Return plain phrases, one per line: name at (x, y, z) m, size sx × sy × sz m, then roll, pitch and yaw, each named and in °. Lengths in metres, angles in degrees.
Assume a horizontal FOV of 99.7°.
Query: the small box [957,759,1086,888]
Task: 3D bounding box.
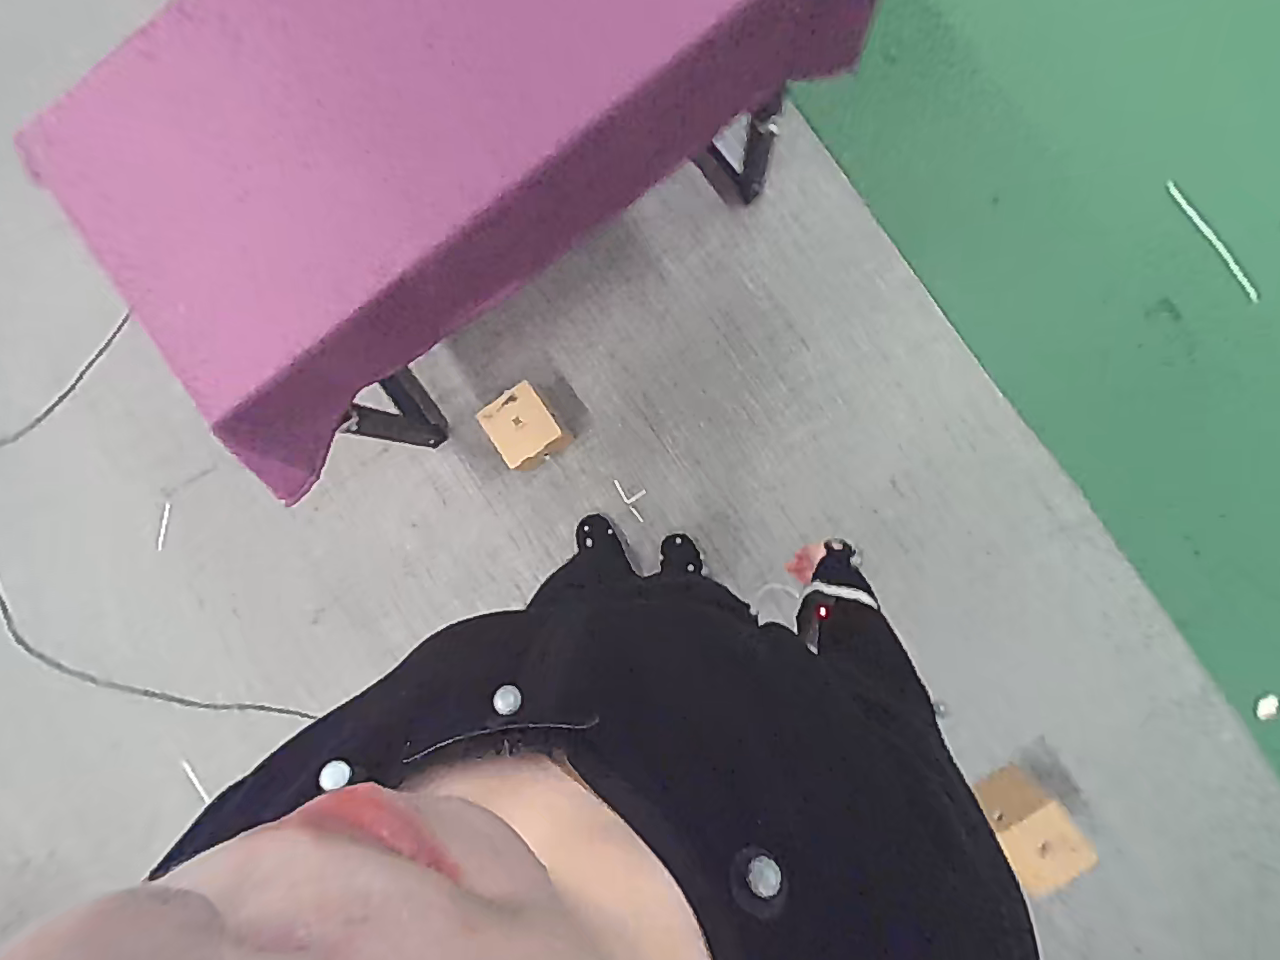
small box at (0.923, 0.838, 1.335) m, size 0.179 × 0.176 × 0.168 m, roll -35°, pitch 87°, yaw 4°
